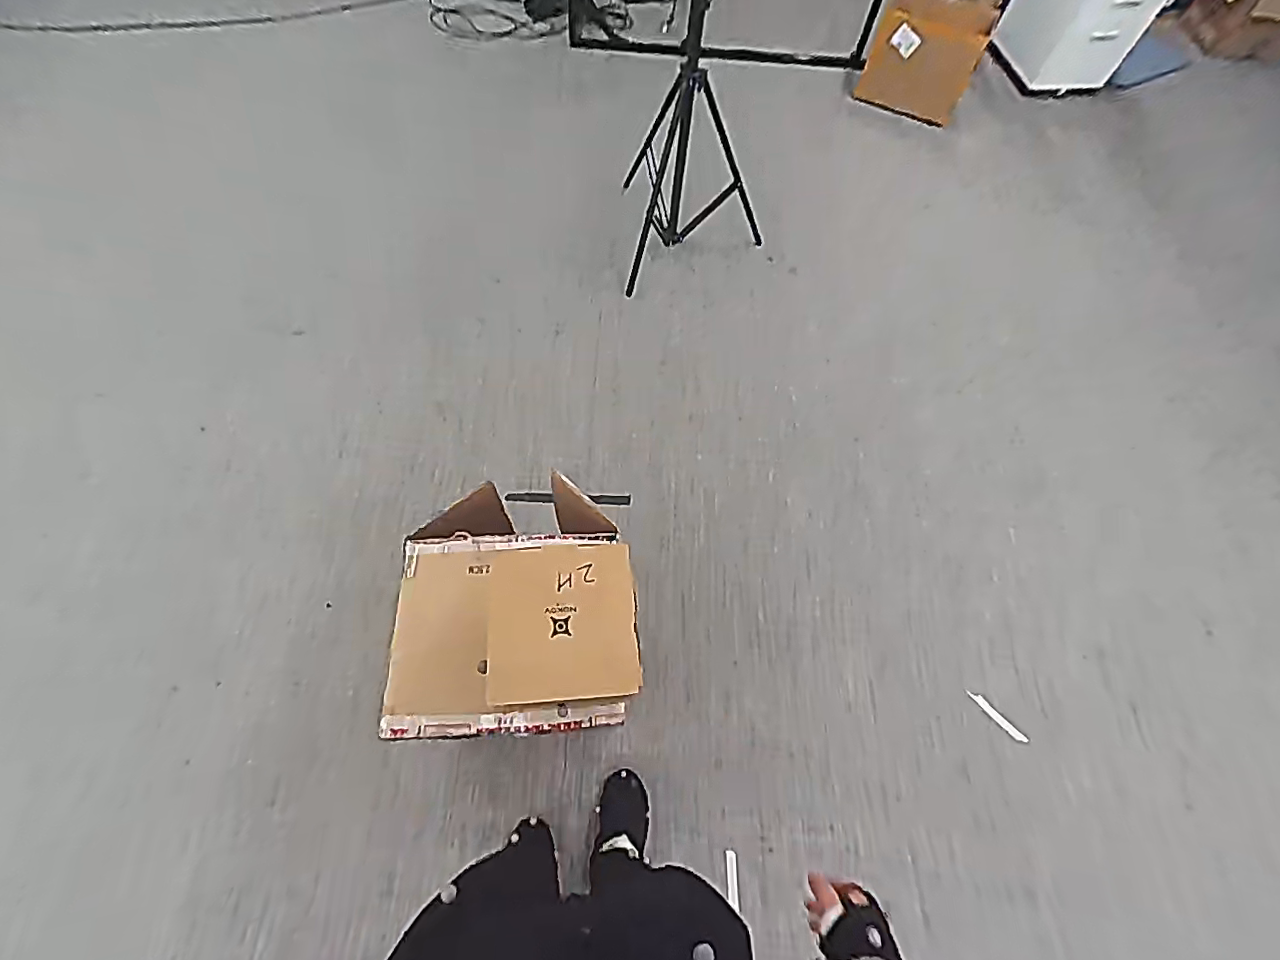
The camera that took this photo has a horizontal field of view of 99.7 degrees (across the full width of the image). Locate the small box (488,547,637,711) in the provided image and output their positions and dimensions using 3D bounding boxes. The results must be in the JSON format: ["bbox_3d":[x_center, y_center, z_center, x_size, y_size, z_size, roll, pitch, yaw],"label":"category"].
[{"bbox_3d":[-0.094,0.196,0.692,0.168,0.176,0.179,-2,66,-6],"label":"small box"}]
